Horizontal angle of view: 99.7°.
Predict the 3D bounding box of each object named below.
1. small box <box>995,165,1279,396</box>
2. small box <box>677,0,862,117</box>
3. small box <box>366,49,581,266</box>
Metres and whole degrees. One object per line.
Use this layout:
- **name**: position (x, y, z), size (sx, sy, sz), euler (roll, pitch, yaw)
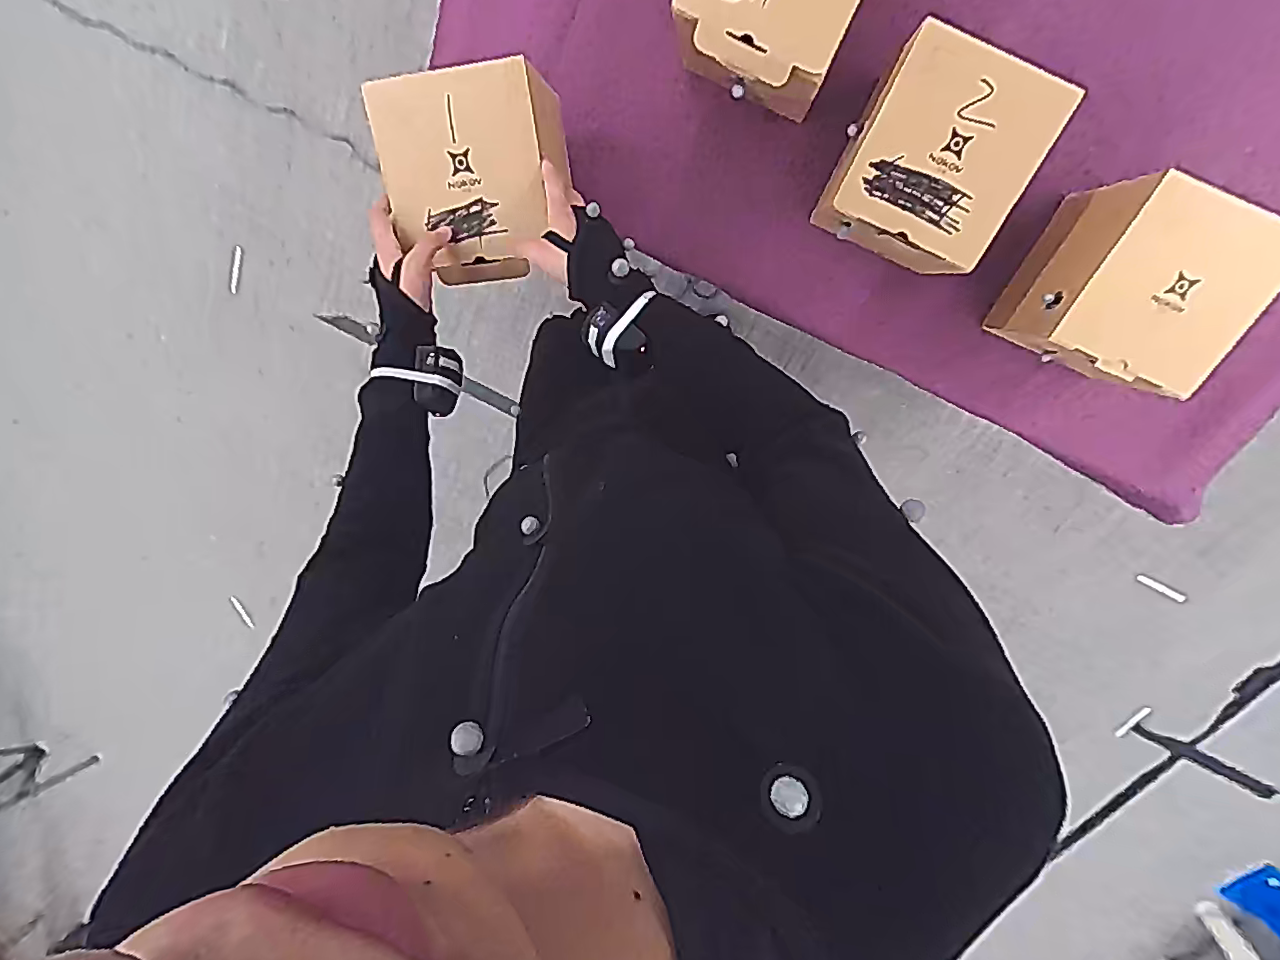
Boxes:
- **small box**: position (0.558, -0.223, 0.620), size (0.168, 0.176, 0.179), euler (24, 113, 0)
- **small box**: position (0.152, -0.526, 0.568), size (0.168, 0.176, 0.179), euler (26, 113, 0)
- **small box**: position (-0.168, -0.349, 0.615), size (0.168, 0.176, 0.179), euler (-4, 113, 6)
